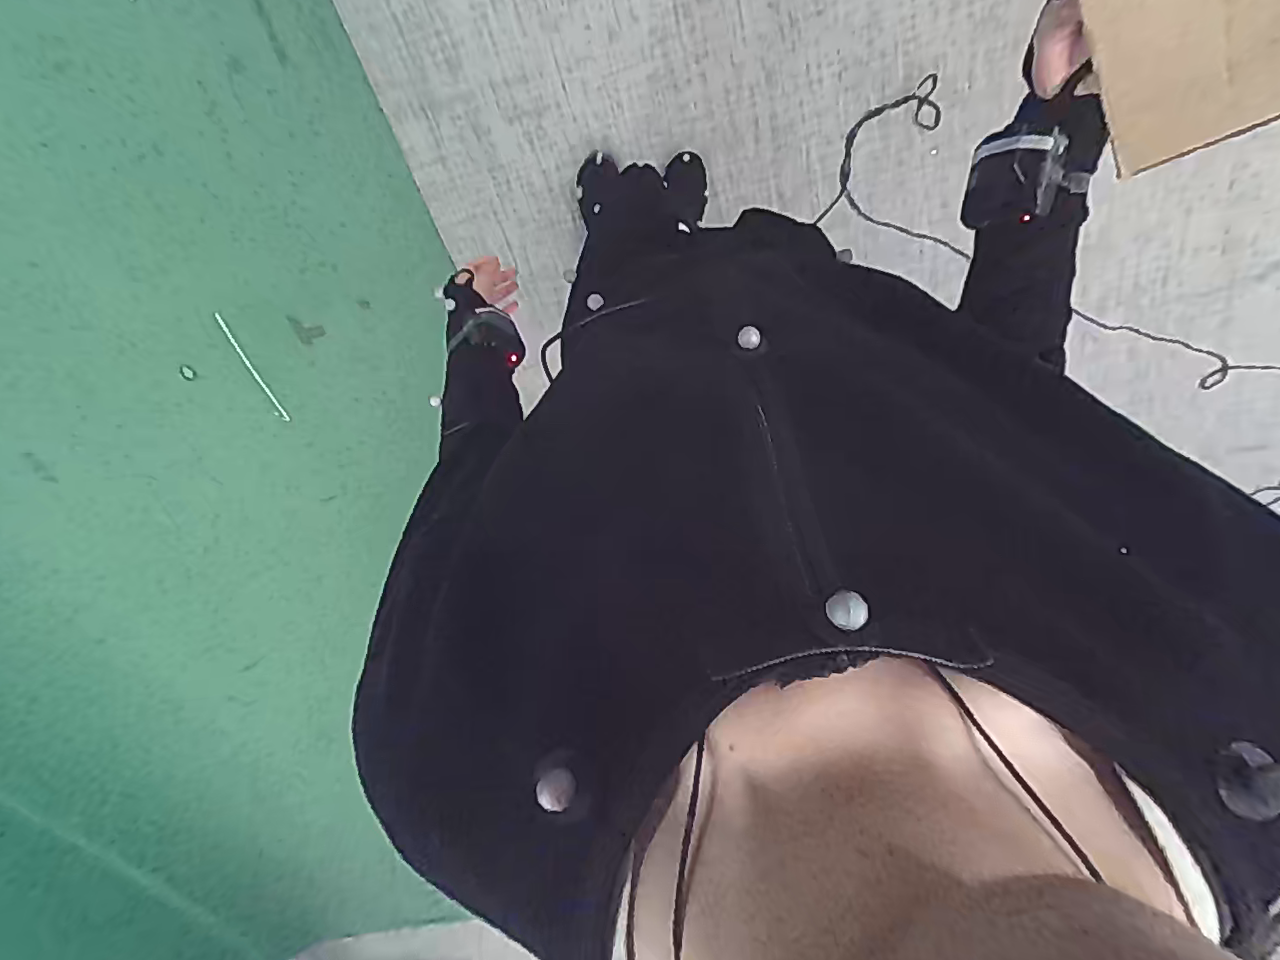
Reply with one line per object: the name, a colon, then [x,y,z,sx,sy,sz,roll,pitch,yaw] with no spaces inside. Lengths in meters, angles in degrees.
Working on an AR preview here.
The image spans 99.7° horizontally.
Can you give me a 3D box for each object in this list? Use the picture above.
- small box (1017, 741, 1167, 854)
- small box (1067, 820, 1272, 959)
small box: [0.946,0.683,1.131,0.179,0.176,0.168,-36,115,19]
small box: [0.945,0.755,0.982,0.168,0.176,0.179,33,117,-19]
